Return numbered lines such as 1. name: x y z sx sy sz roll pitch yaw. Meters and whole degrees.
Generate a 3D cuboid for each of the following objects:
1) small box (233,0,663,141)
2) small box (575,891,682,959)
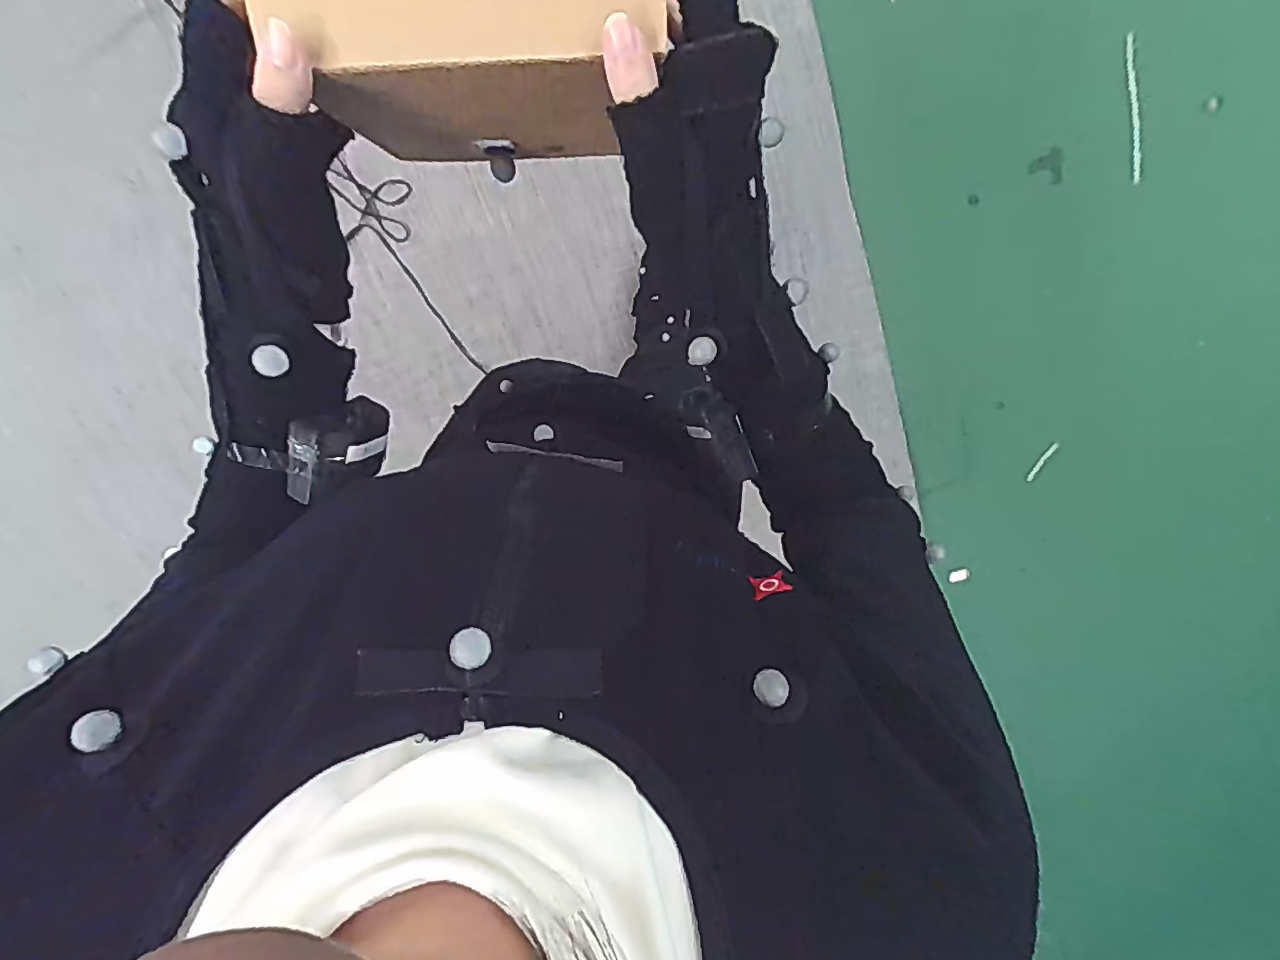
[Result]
1. small box: -0.081 -0.284 0.252 0.168 0.176 0.179 -4 109 -2
2. small box: -0.017 0.888 0.978 0.168 0.176 0.179 -17 106 3
